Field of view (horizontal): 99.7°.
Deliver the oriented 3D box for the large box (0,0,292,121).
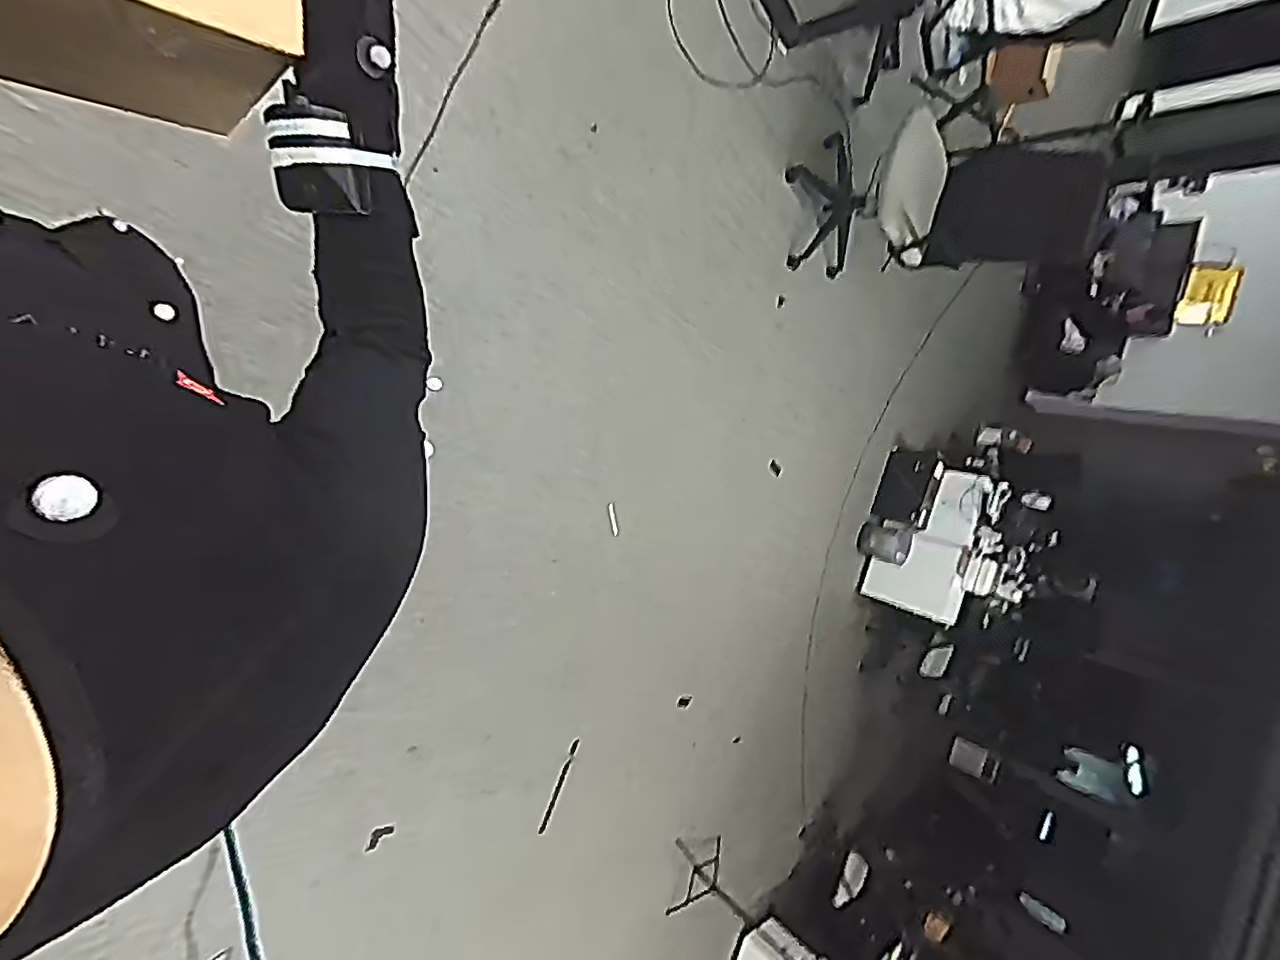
[{"bbox_3d":[-0.461,-0.441,0.277,0.408,0.320,0.320,-11,113,-43],"label":"large box"}]
